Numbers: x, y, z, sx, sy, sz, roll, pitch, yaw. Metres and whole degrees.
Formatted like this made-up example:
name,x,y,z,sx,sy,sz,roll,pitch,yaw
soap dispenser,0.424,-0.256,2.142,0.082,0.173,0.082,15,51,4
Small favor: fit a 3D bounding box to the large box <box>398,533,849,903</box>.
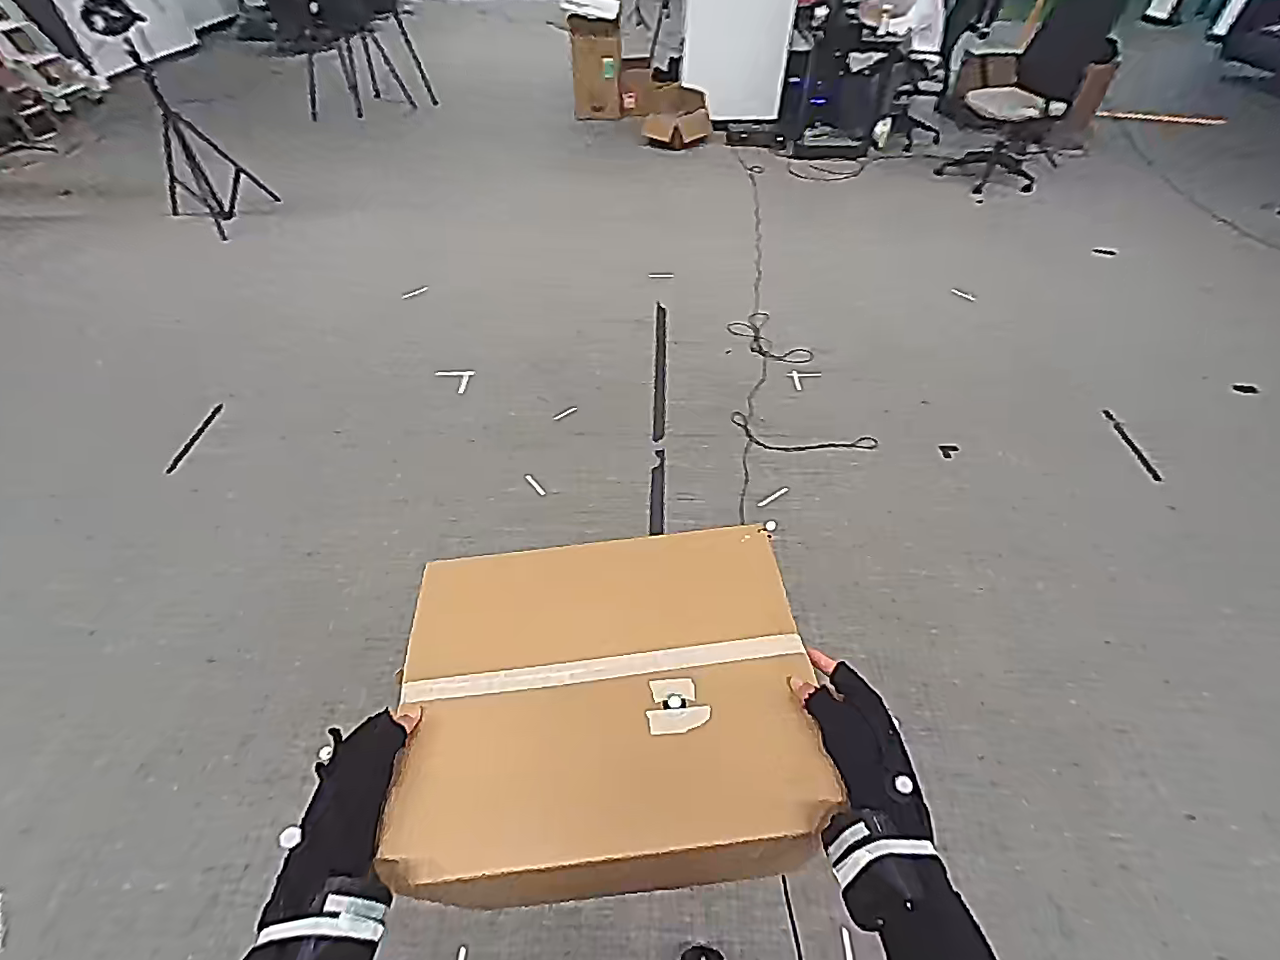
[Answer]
name,x,y,z,sx,sy,sz,roll,pitch,yaw
large box,-0.021,0.298,0.674,0.408,0.320,0.320,-6,49,-1
